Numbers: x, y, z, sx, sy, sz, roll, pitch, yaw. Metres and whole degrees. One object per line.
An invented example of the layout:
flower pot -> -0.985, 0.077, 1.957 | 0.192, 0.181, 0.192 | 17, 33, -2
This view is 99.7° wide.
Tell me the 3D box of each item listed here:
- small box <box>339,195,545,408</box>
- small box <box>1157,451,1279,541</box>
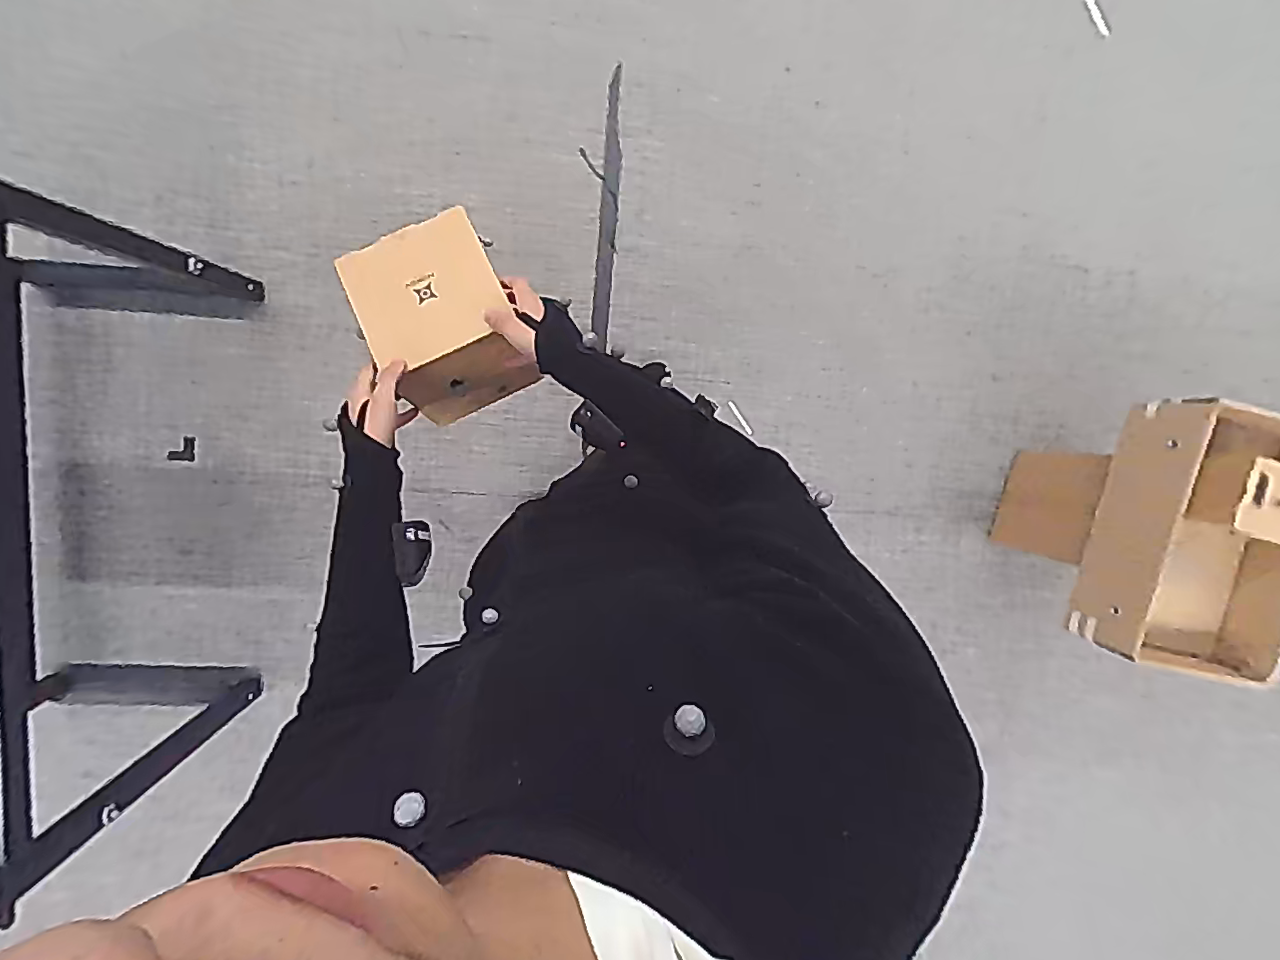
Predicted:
small box -> -0.238, -0.210, 0.692 | 0.168, 0.176, 0.179 | -26, 78, -4
small box -> 1.375, 0.033, 1.257 | 0.179, 0.176, 0.168 | 15, 96, -8
